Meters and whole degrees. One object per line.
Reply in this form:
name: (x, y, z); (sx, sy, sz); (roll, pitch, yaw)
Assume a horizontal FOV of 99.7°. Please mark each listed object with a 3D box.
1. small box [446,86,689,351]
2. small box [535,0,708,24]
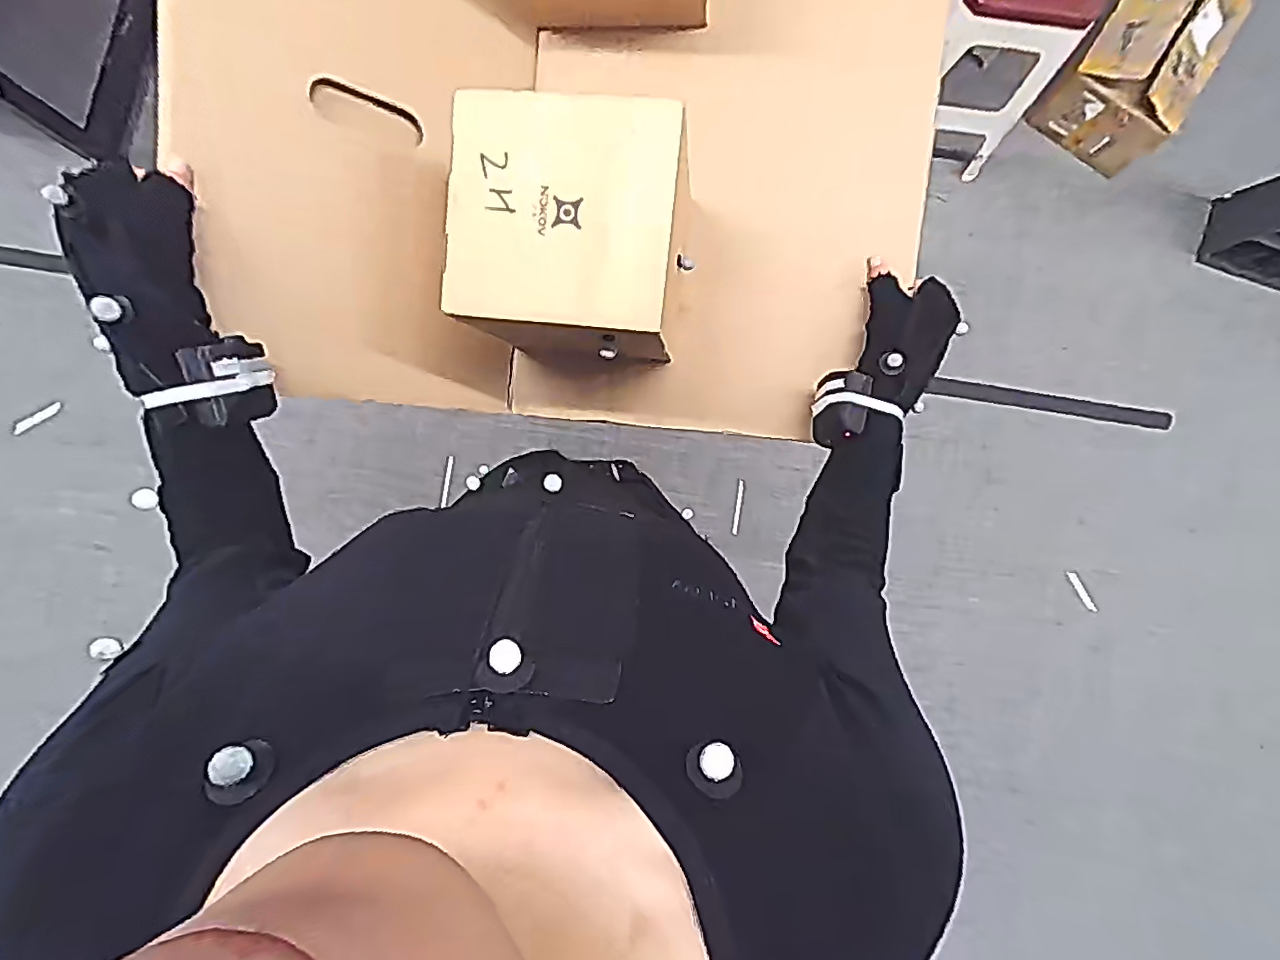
small box: (-0.051, -0.217, 0.492); (0.179, 0.176, 0.168); (8, 96, 6)
small box: (-0.023, -0.533, 0.459); (0.179, 0.176, 0.168); (5, 96, 6)
